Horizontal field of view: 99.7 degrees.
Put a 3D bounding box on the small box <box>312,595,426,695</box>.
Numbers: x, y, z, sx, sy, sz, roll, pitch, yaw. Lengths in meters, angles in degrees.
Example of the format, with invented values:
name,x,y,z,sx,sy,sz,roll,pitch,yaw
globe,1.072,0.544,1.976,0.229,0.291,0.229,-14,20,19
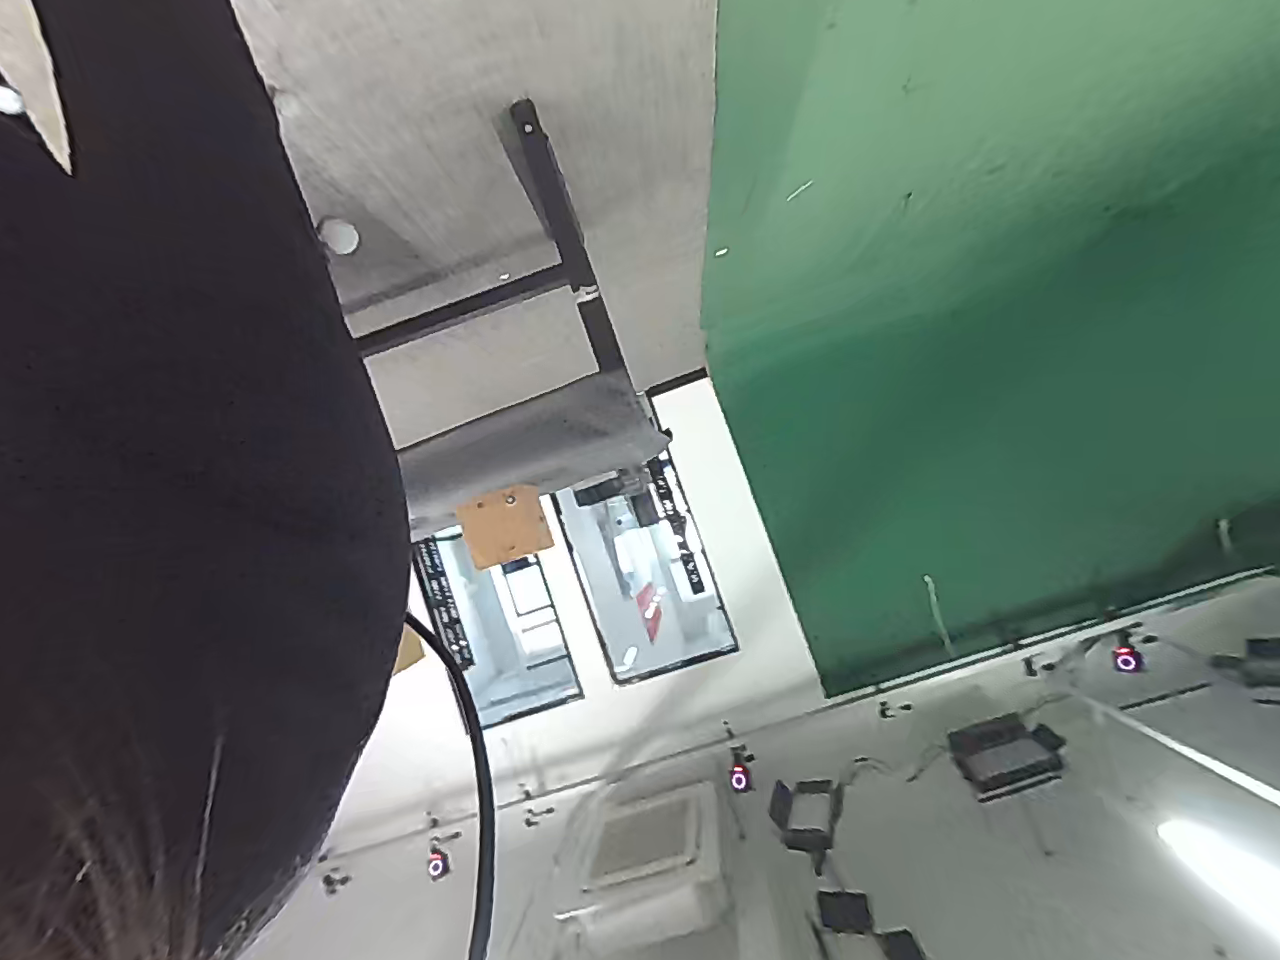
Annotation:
name,x,y,z,sx,sy,sz,roll,pitch,yaw
small box,-0.663,0.396,1.329,0.168,0.176,0.179,-19,177,3

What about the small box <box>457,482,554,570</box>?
name,x,y,z,sx,sy,sz,roll,pitch,yaw
small box,-0.328,0.108,1.334,0.168,0.176,0.179,-19,177,0
